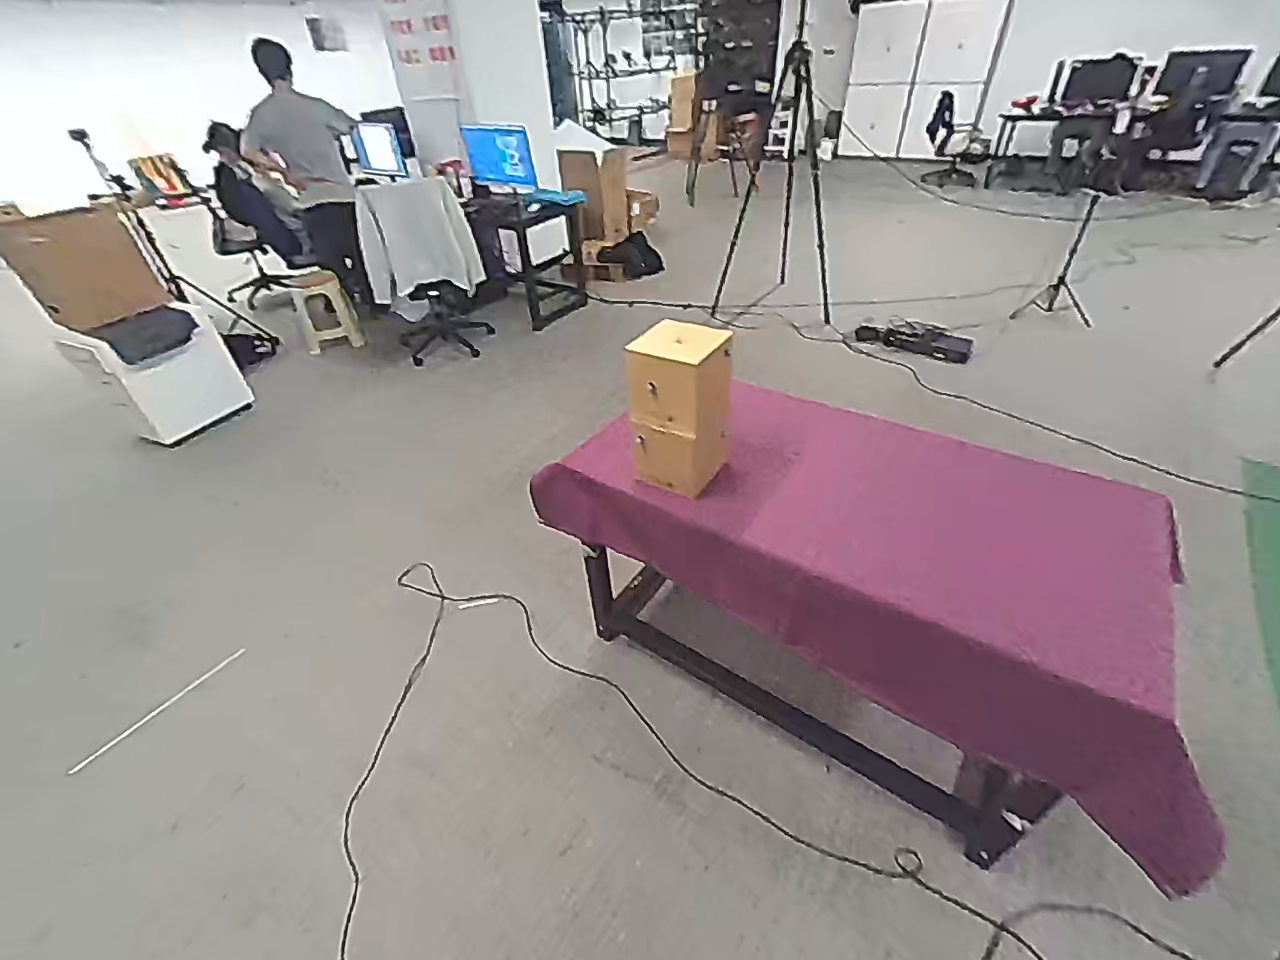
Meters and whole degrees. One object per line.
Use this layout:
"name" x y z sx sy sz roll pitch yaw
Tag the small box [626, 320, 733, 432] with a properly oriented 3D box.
"small box" 0.090 -0.224 1.163 0.168 0.176 0.179 19 42 26
